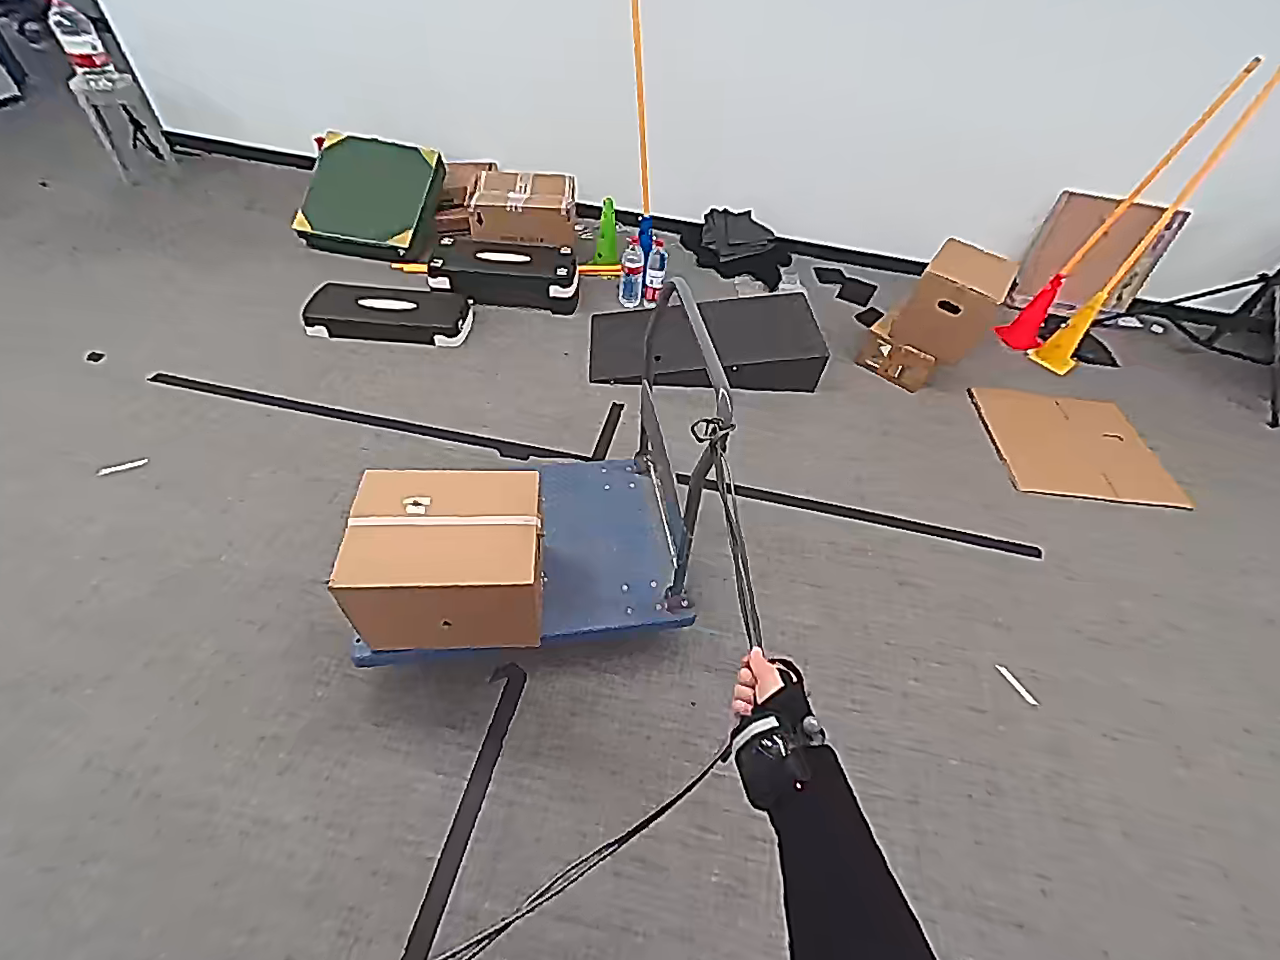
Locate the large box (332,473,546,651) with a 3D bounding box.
[{"bbox_3d":[-0.434,0.197,1.292,0.408,0.320,0.320,0,49,-6],"label":"large box"}]
